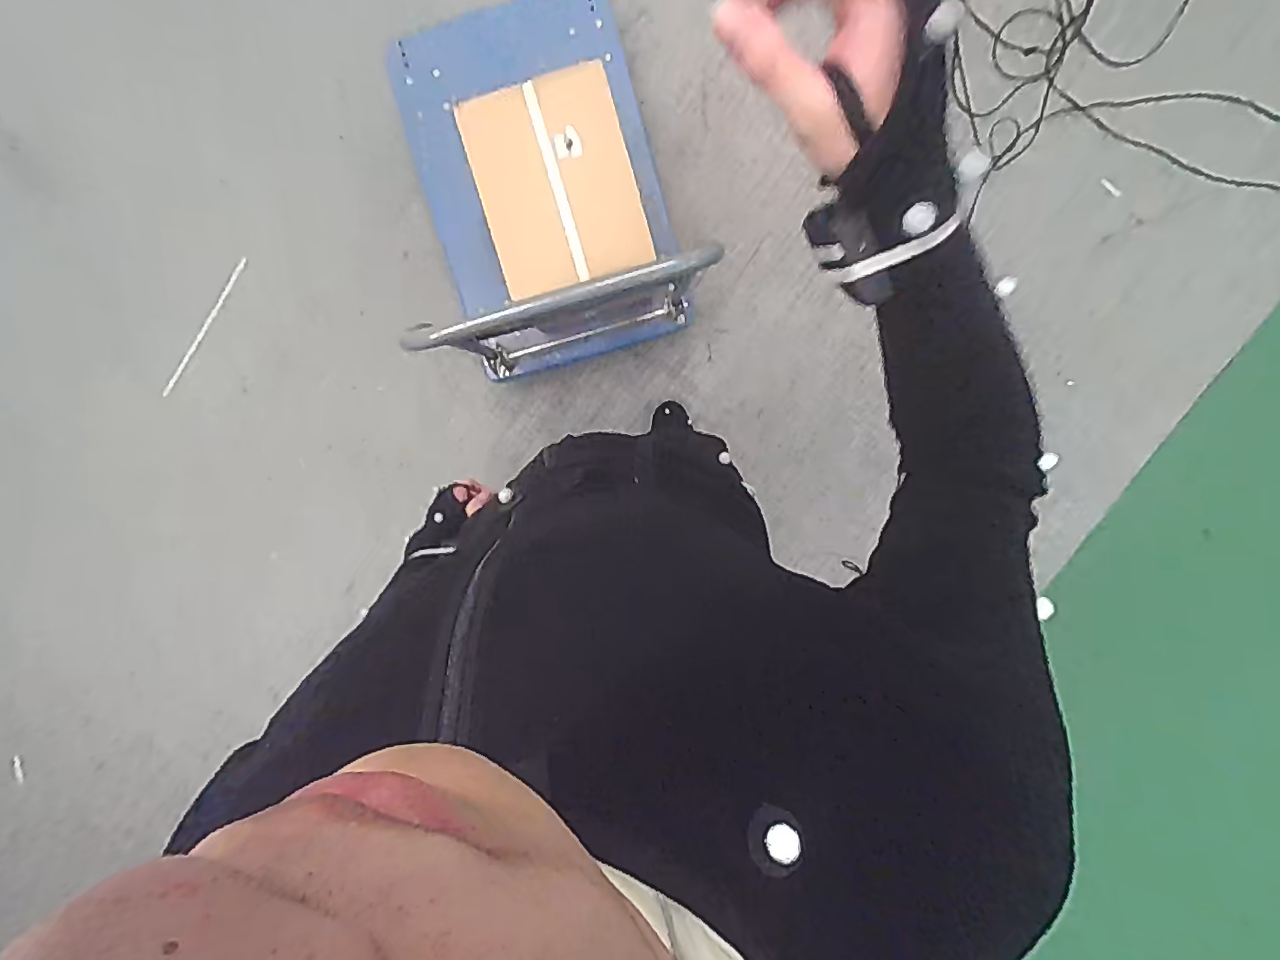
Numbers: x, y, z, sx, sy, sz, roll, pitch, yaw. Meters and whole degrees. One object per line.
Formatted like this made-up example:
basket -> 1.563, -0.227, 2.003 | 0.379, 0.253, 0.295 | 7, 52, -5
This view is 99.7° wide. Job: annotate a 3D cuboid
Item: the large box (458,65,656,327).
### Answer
large box -> -0.166, -0.617, 1.253 | 0.320, 0.320, 0.408 | -16, 95, 1
